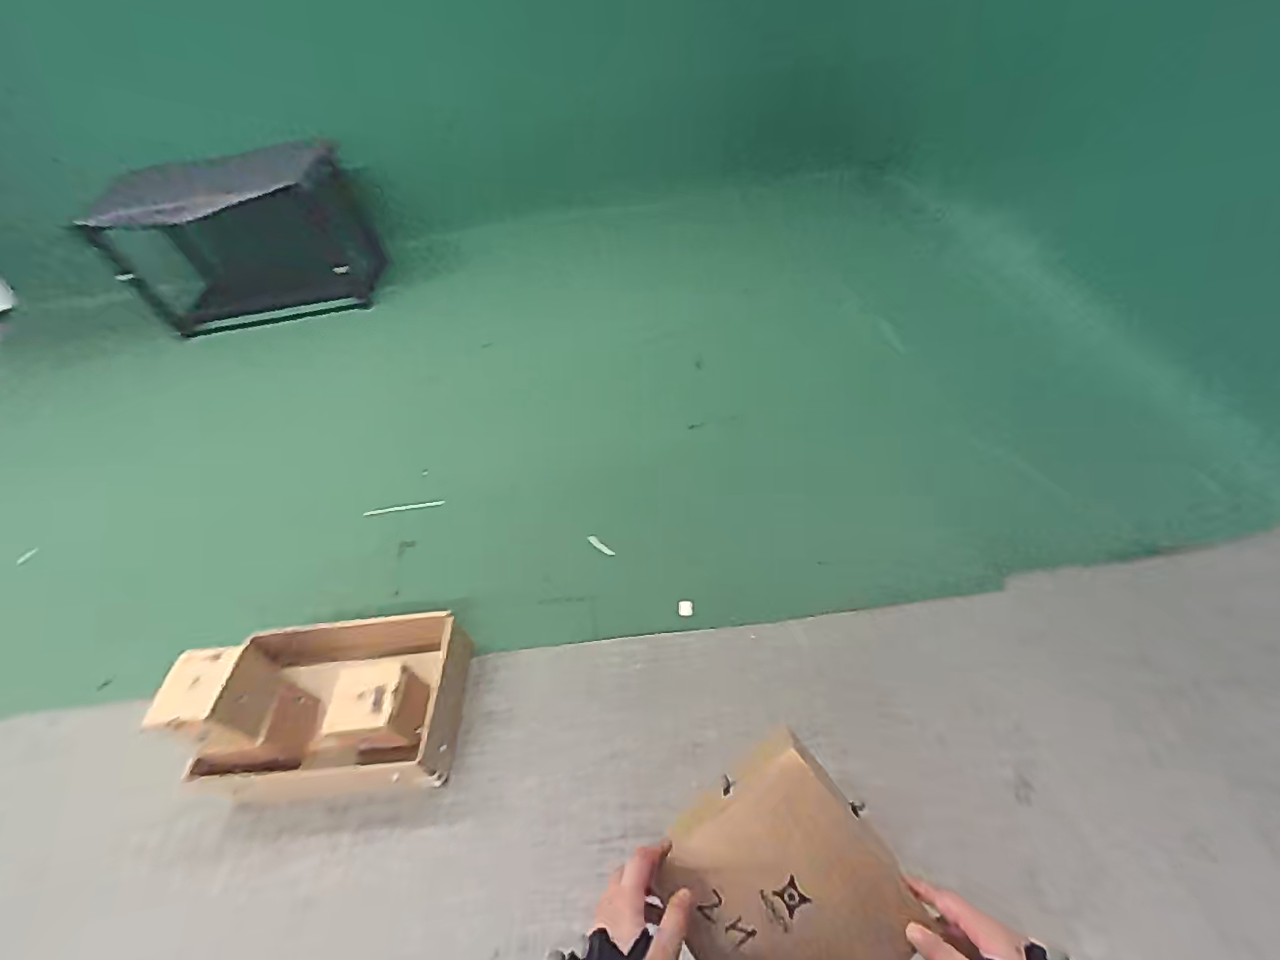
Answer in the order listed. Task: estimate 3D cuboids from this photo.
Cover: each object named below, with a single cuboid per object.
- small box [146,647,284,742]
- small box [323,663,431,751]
[{"bbox_3d":[-1.017,0.528,1.315,0.168,0.176,0.179,-6,49,6],"label":"small box"},{"bbox_3d":[-0.673,0.595,1.410,0.179,0.176,0.168,-8,48,6],"label":"small box"}]
